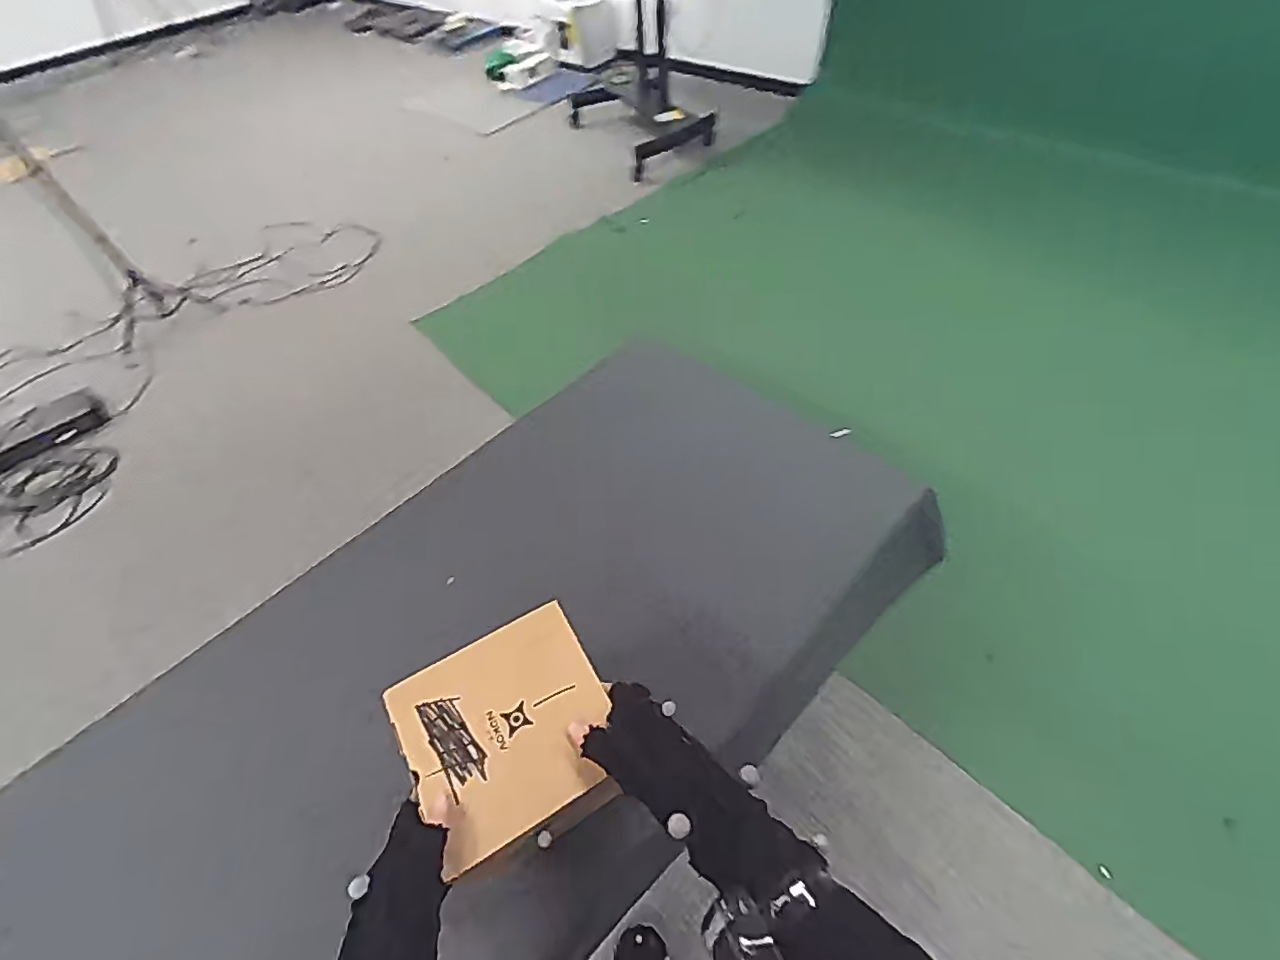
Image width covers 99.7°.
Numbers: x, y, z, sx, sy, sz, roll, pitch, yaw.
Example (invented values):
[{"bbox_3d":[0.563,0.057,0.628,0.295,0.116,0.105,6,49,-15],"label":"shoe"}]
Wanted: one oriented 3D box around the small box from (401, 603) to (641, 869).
[{"bbox_3d":[-0.110,0.262,0.553,0.179,0.176,0.168,-25,60,-17],"label":"small box"}]
